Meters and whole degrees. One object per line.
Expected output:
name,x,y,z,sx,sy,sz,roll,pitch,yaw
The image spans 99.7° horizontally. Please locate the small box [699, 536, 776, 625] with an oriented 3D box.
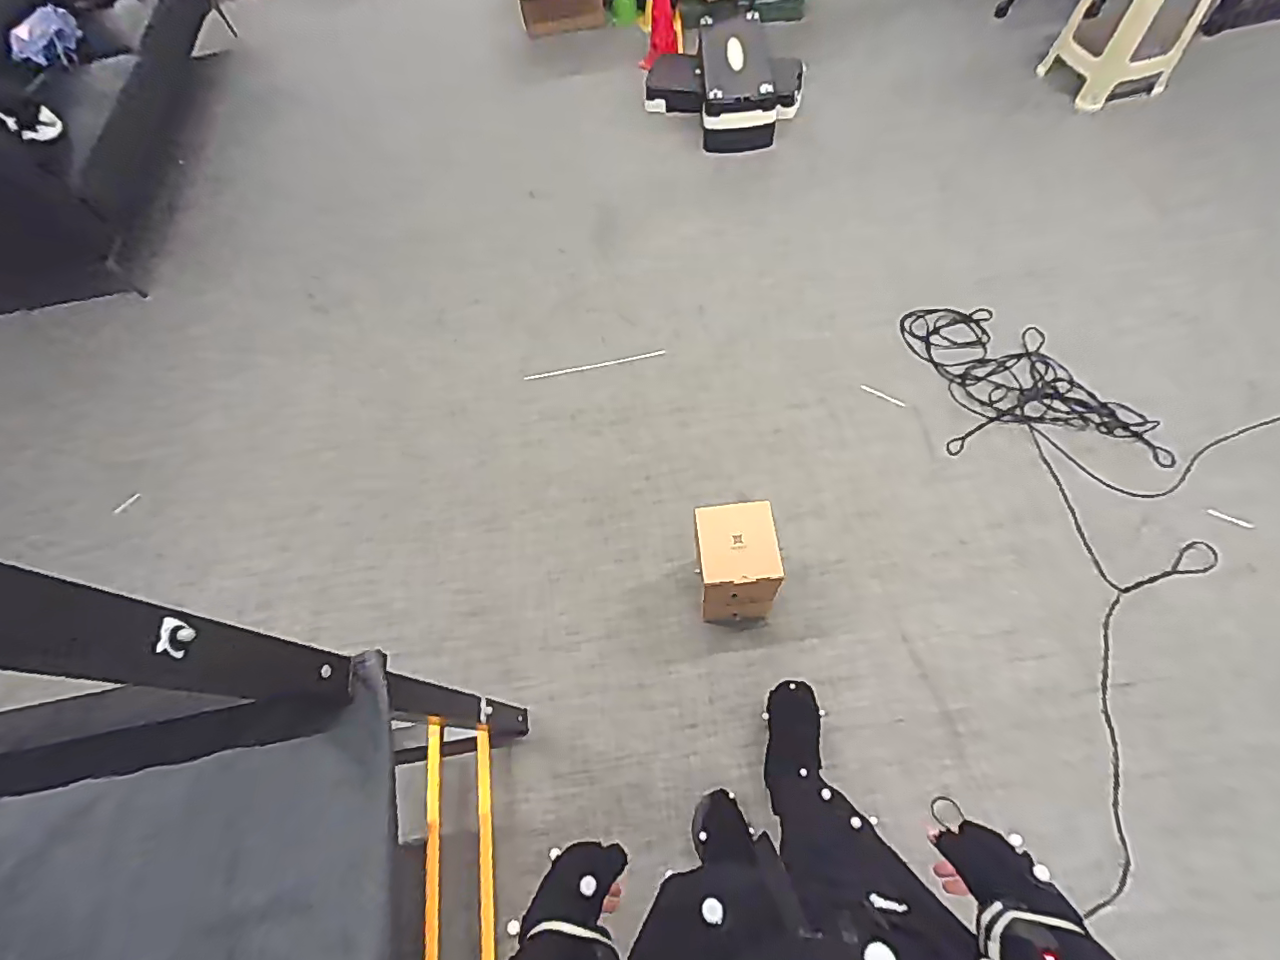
small box,0.238,0.256,1.360,0.168,0.176,0.179,-5,63,5
